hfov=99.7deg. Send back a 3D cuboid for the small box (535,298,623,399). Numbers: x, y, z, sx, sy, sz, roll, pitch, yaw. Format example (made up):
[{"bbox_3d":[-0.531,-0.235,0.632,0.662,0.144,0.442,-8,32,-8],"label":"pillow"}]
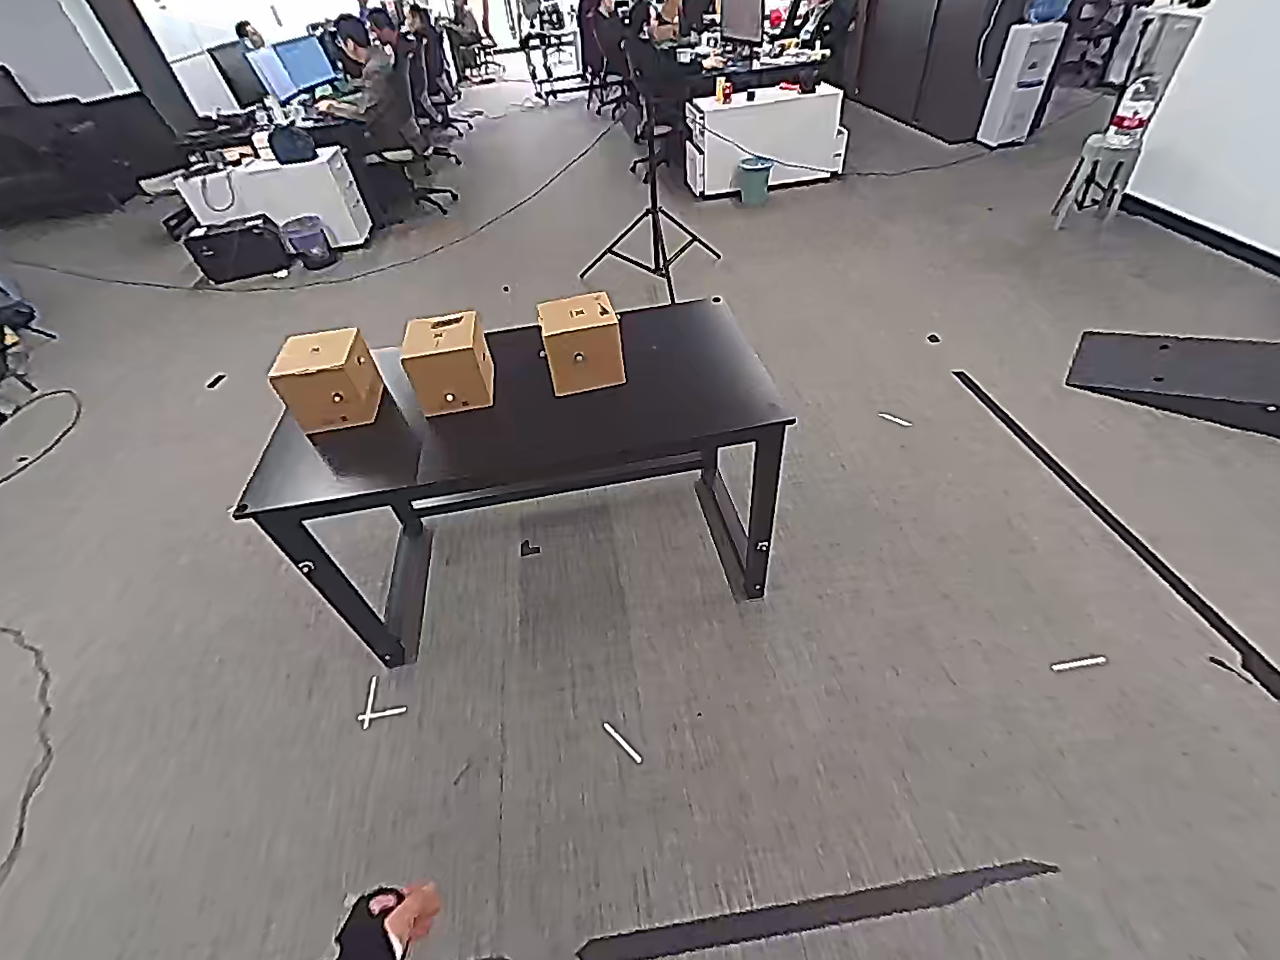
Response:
[{"bbox_3d":[-0.149,-0.321,1.333,0.179,0.176,0.168,-13,45,-6],"label":"small box"}]

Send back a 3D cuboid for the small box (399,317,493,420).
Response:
[{"bbox_3d":[-0.463,-0.271,1.318,0.168,0.176,0.179,-10,45,-4],"label":"small box"}]

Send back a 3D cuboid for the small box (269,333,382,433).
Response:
[{"bbox_3d":[-0.746,-0.228,1.307,0.168,0.176,0.179,-10,44,-6],"label":"small box"}]
